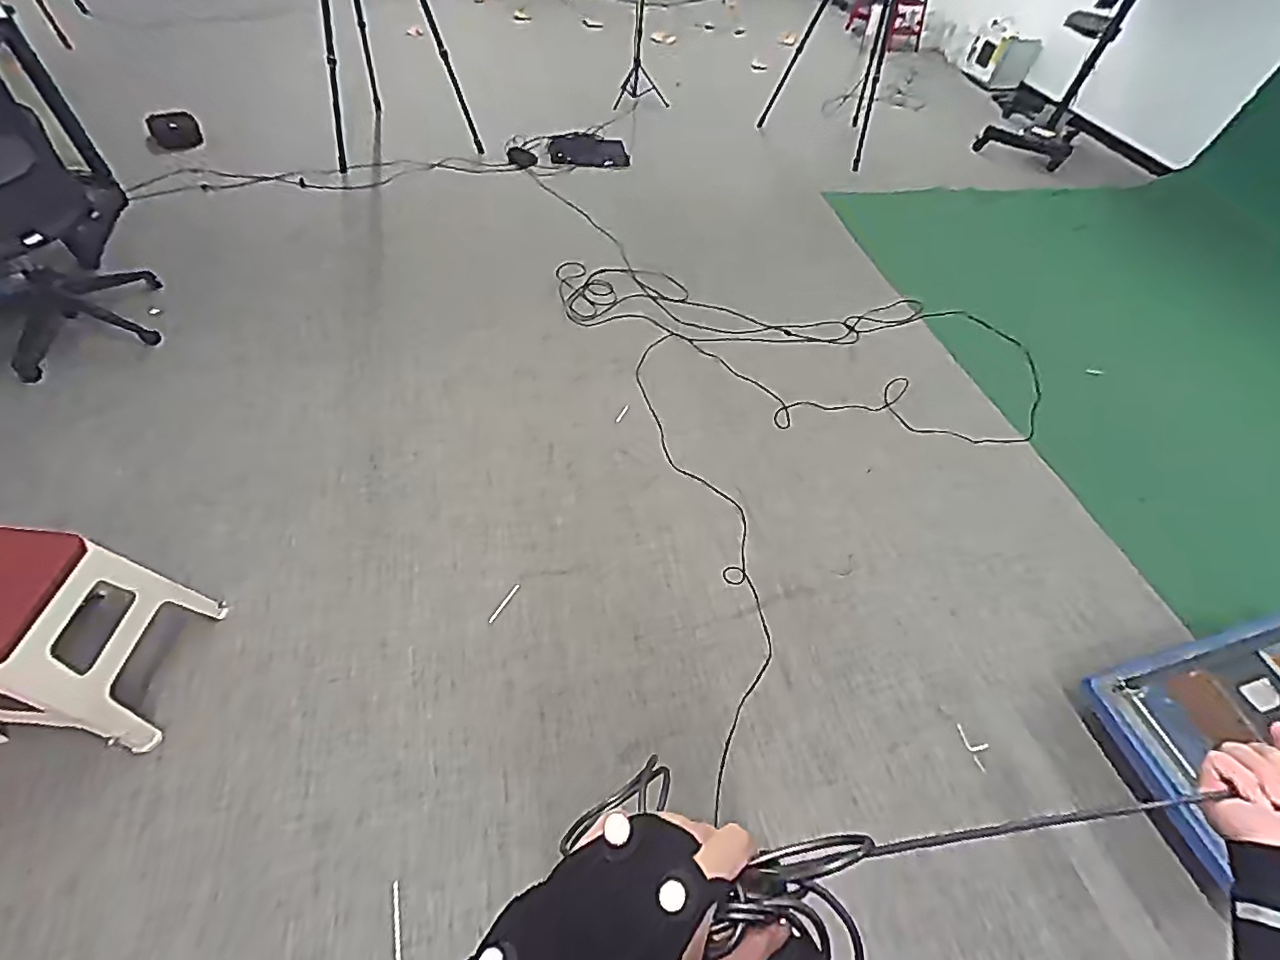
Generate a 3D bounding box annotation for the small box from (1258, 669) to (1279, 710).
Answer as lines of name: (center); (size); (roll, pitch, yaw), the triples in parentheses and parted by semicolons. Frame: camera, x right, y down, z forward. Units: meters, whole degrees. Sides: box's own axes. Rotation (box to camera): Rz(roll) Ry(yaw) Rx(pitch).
small box: (1.833, 0.568, 1.437); (0.179, 0.176, 0.168); (-12, 56, -15)
